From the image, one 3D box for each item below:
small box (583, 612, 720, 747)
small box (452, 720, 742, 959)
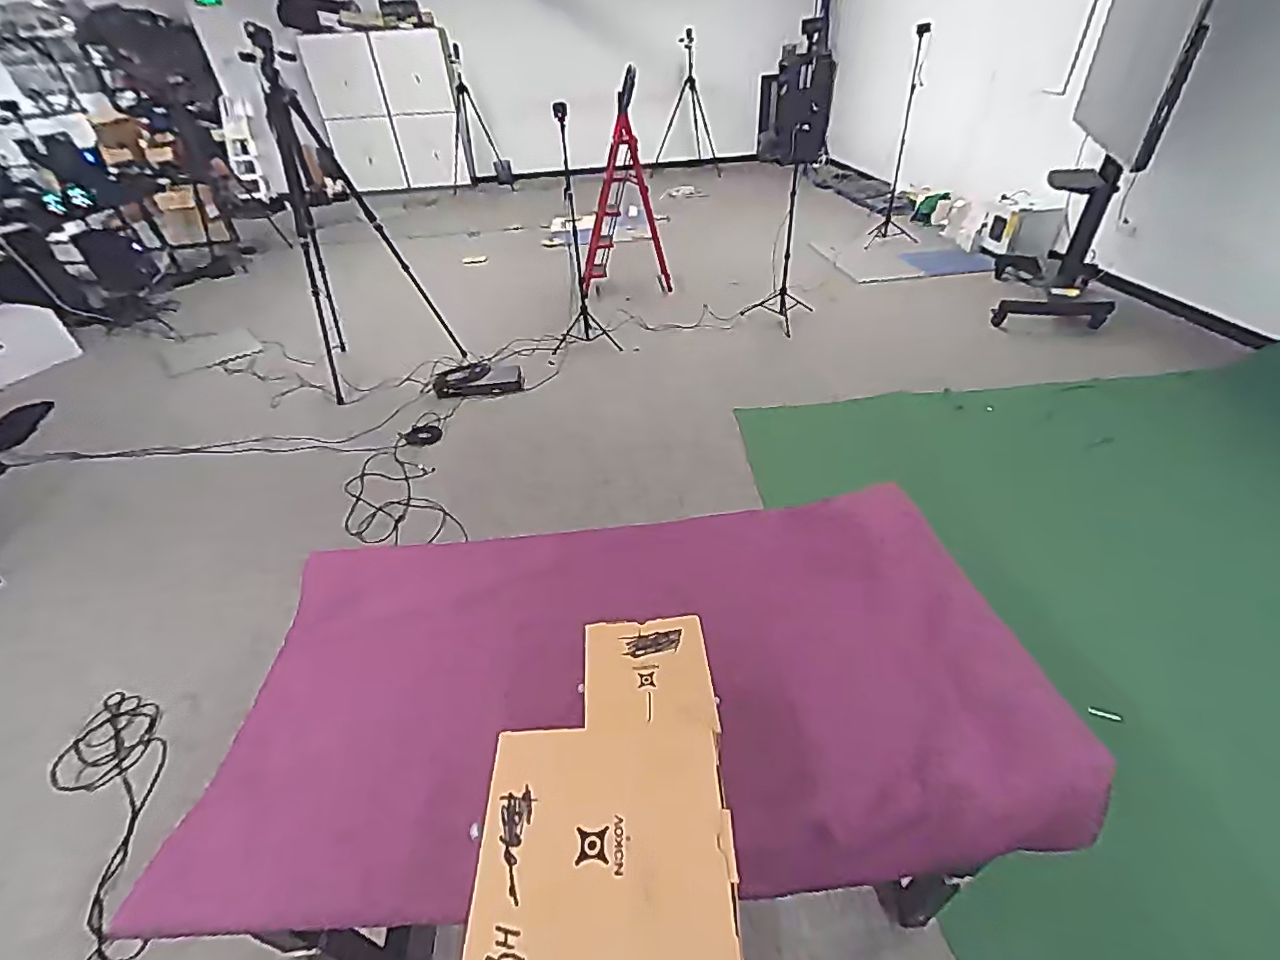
[{"bbox_3d":[0.012,0.309,0.749,0.168,0.176,0.179,-5,39,-1],"label":"small box"},{"bbox_3d":[-0.028,0.307,0.421,0.179,0.176,0.168,0,40,-1],"label":"small box"}]
